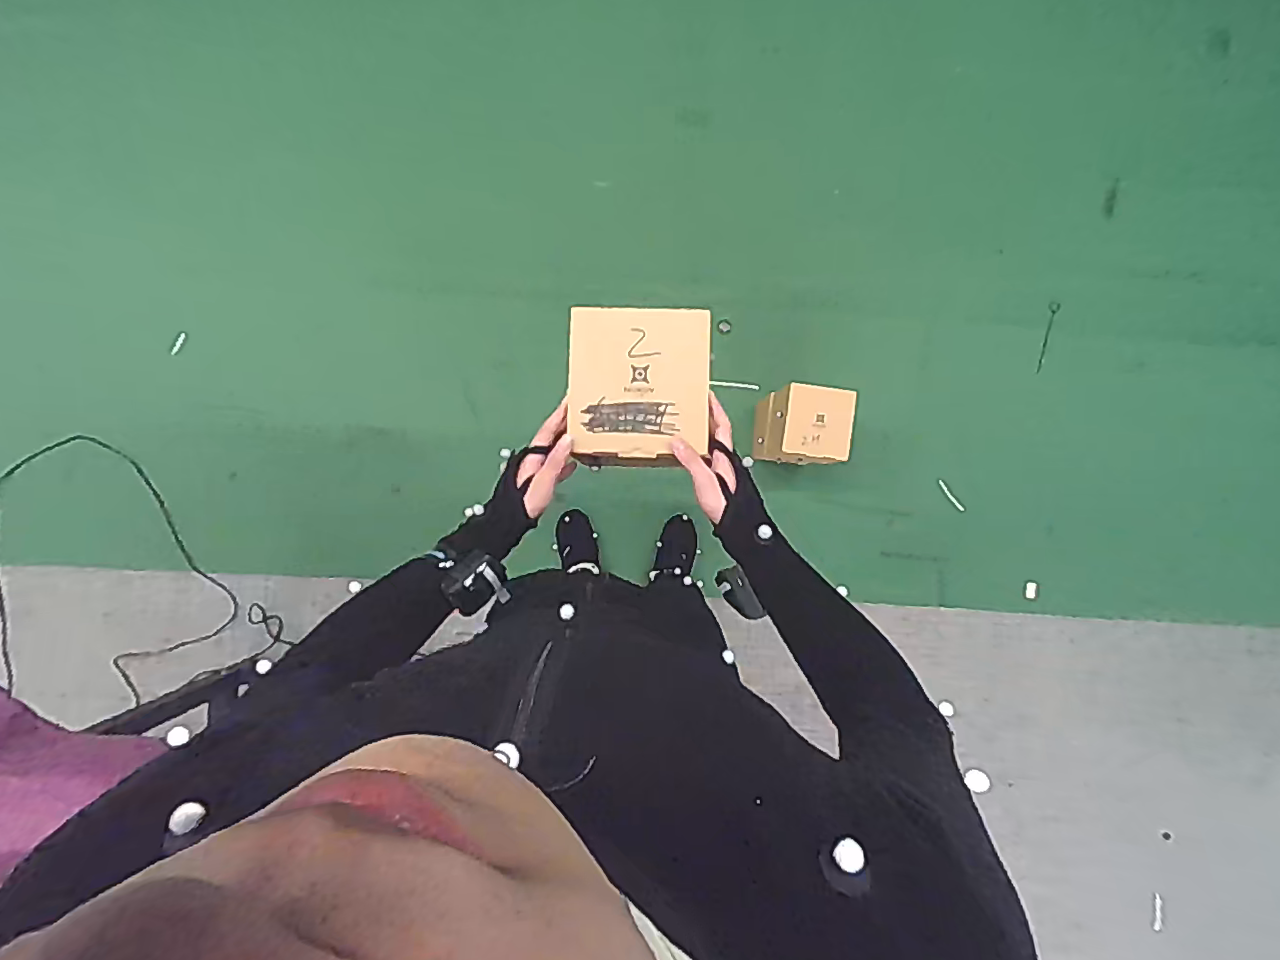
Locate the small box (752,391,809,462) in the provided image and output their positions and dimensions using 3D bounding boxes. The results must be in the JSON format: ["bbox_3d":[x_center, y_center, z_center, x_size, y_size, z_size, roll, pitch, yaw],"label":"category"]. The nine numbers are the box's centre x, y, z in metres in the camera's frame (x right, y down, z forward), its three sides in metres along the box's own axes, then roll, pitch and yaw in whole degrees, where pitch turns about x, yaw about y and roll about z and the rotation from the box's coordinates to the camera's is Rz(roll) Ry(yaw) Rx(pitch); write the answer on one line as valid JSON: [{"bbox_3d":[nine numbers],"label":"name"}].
[{"bbox_3d":[0.428,-0.149,1.562,0.168,0.176,0.179,6,90,-1],"label":"small box"}]

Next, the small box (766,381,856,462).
[{"bbox_3d":[0.434,-0.145,1.398,0.168,0.176,0.179,8,90,-1],"label":"small box"}]
